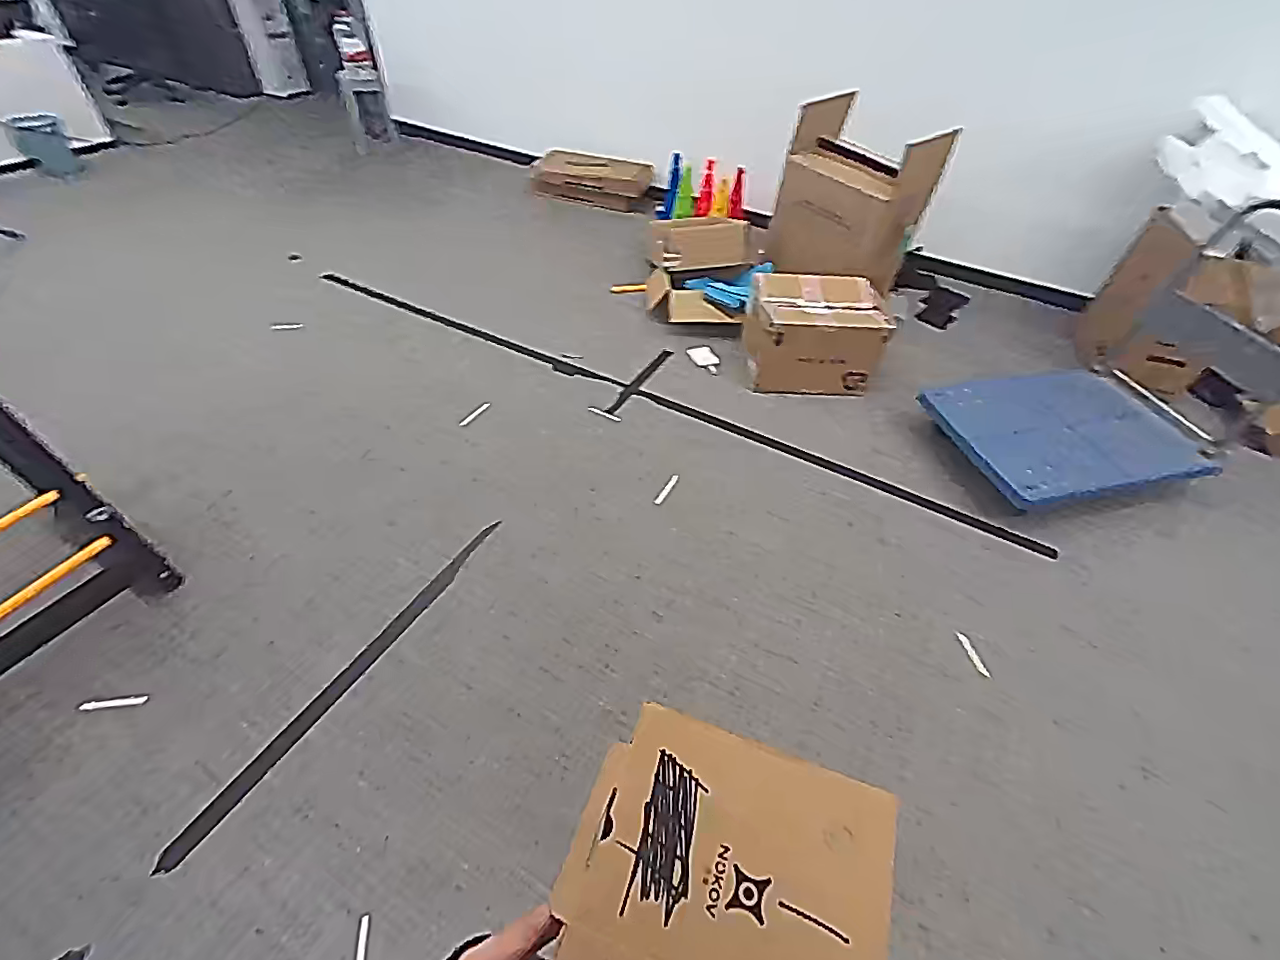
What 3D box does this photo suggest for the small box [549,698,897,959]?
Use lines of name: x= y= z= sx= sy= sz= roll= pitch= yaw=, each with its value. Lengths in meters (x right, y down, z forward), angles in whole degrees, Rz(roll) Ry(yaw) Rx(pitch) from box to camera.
small box: x=0.058 y=0.286 z=0.380 sx=0.179 sy=0.176 sz=0.168 roll=15 pitch=53 yaw=13
